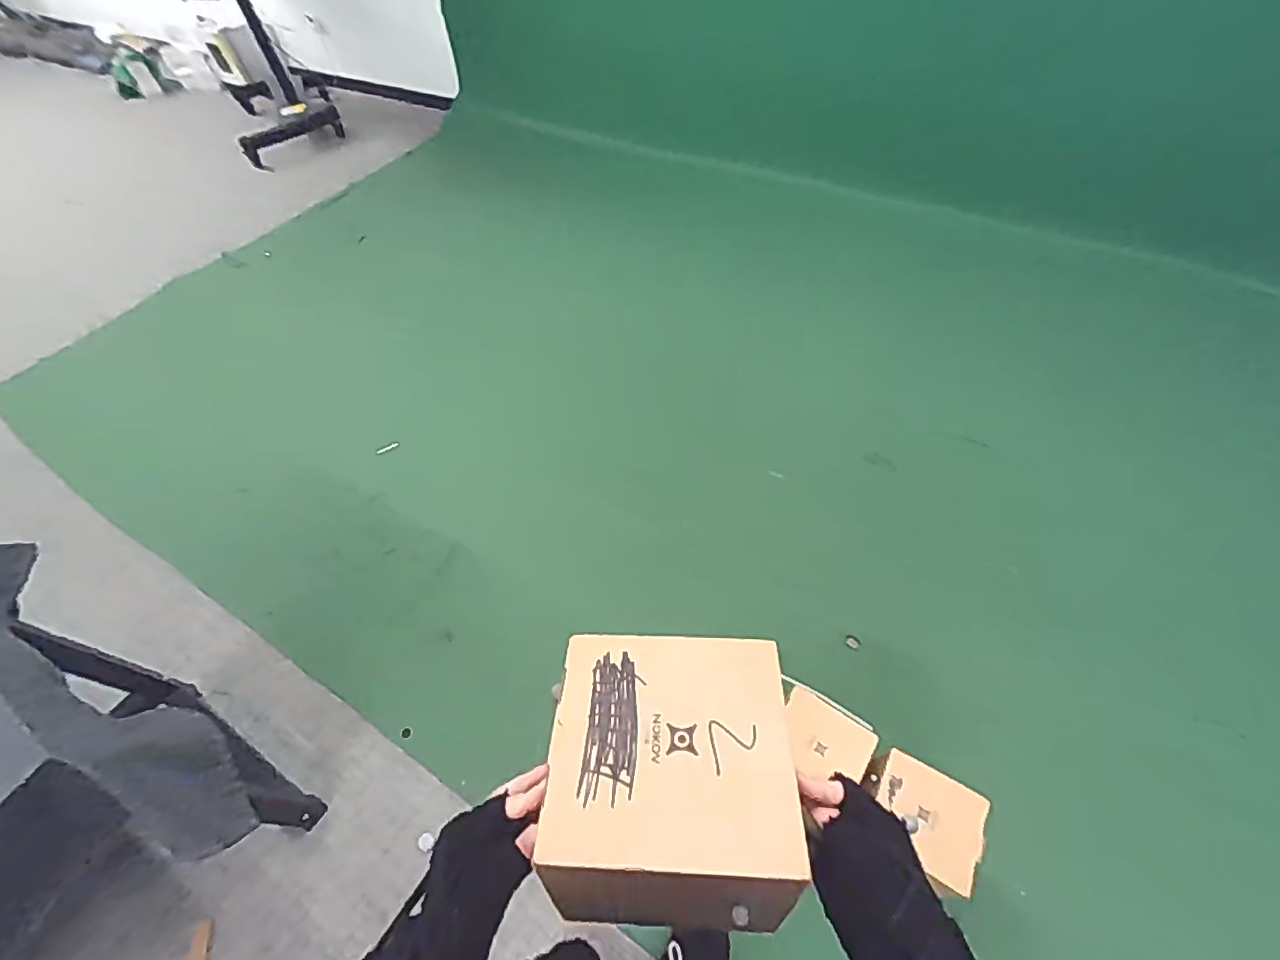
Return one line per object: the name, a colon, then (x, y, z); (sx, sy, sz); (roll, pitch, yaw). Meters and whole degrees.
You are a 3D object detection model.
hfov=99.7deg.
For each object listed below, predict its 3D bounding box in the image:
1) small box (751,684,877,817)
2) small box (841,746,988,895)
small box: (0.344, 0.550, 1.096); (0.179, 0.176, 0.168); (29, 62, 24)
small box: (0.510, 0.636, 1.021); (0.179, 0.176, 0.168); (26, 60, 19)
